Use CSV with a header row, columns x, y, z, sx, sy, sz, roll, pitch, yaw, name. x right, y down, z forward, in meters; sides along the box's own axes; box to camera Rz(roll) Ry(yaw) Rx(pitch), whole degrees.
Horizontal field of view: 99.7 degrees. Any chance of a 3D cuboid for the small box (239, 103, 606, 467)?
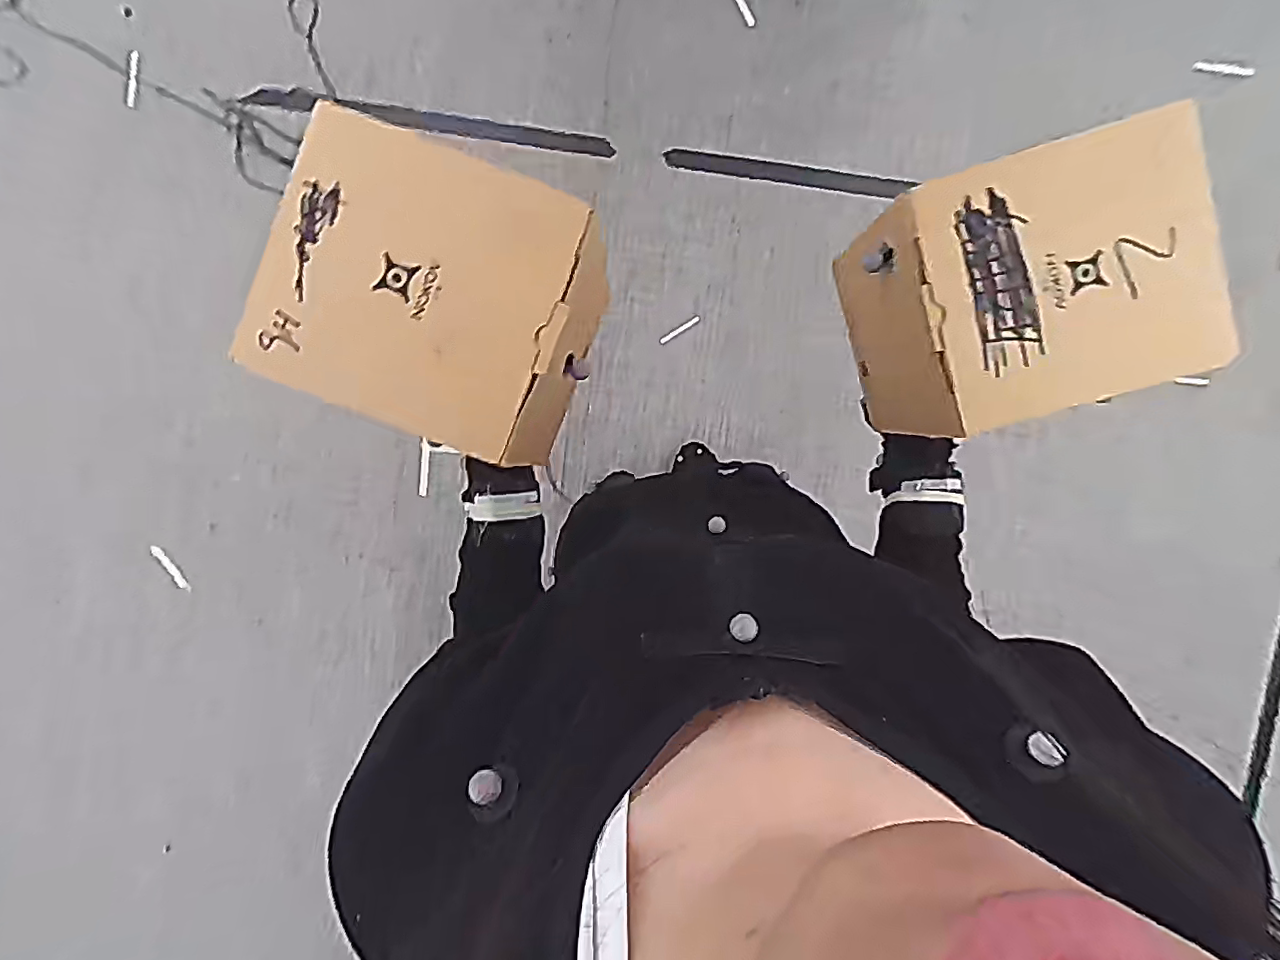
x,y,z,sx,sy,sz,roll,pitch,yaw,name
-0.131,-0.118,0.400,0.179,0.176,0.168,21,92,-2,small box
